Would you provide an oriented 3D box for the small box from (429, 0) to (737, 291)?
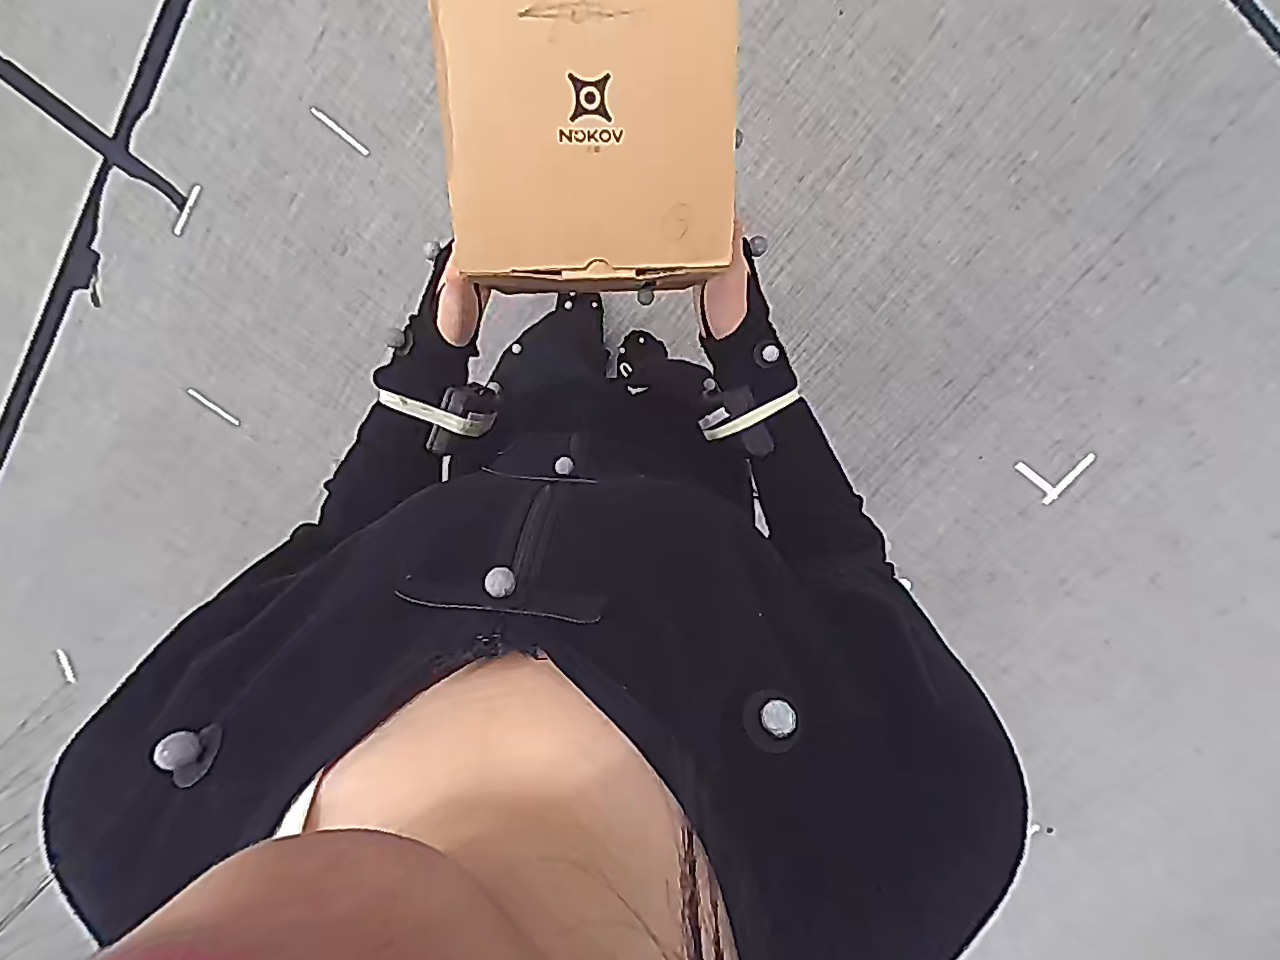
[{"bbox_3d":[-0.035,-0.227,0.376,0.168,0.176,0.179,-3,105,-5],"label":"small box"}]
